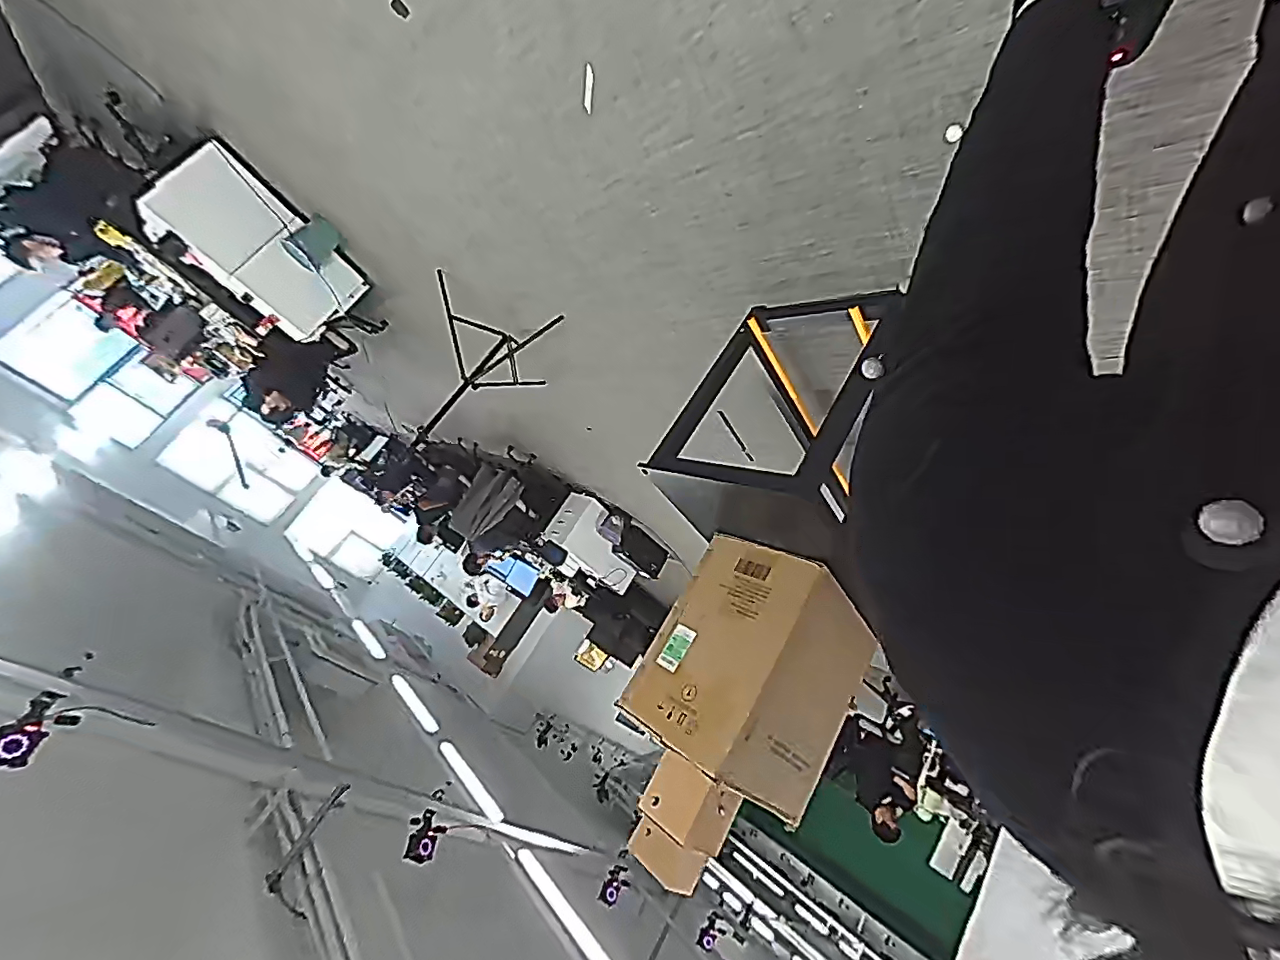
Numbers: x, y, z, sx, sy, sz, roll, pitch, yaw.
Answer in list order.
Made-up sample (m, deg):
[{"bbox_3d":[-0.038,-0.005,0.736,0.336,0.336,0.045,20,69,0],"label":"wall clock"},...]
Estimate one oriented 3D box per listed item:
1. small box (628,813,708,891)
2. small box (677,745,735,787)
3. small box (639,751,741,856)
[{"bbox_3d":[0.102,1.114,1.667,0.179,0.176,0.168,14,155,47],"label":"small box"},{"bbox_3d":[0.181,0.984,1.729,0.179,0.176,0.168,13,152,49],"label":"small box"},{"bbox_3d":[0.137,0.849,1.439,0.179,0.176,0.168,9,152,50],"label":"small box"}]
